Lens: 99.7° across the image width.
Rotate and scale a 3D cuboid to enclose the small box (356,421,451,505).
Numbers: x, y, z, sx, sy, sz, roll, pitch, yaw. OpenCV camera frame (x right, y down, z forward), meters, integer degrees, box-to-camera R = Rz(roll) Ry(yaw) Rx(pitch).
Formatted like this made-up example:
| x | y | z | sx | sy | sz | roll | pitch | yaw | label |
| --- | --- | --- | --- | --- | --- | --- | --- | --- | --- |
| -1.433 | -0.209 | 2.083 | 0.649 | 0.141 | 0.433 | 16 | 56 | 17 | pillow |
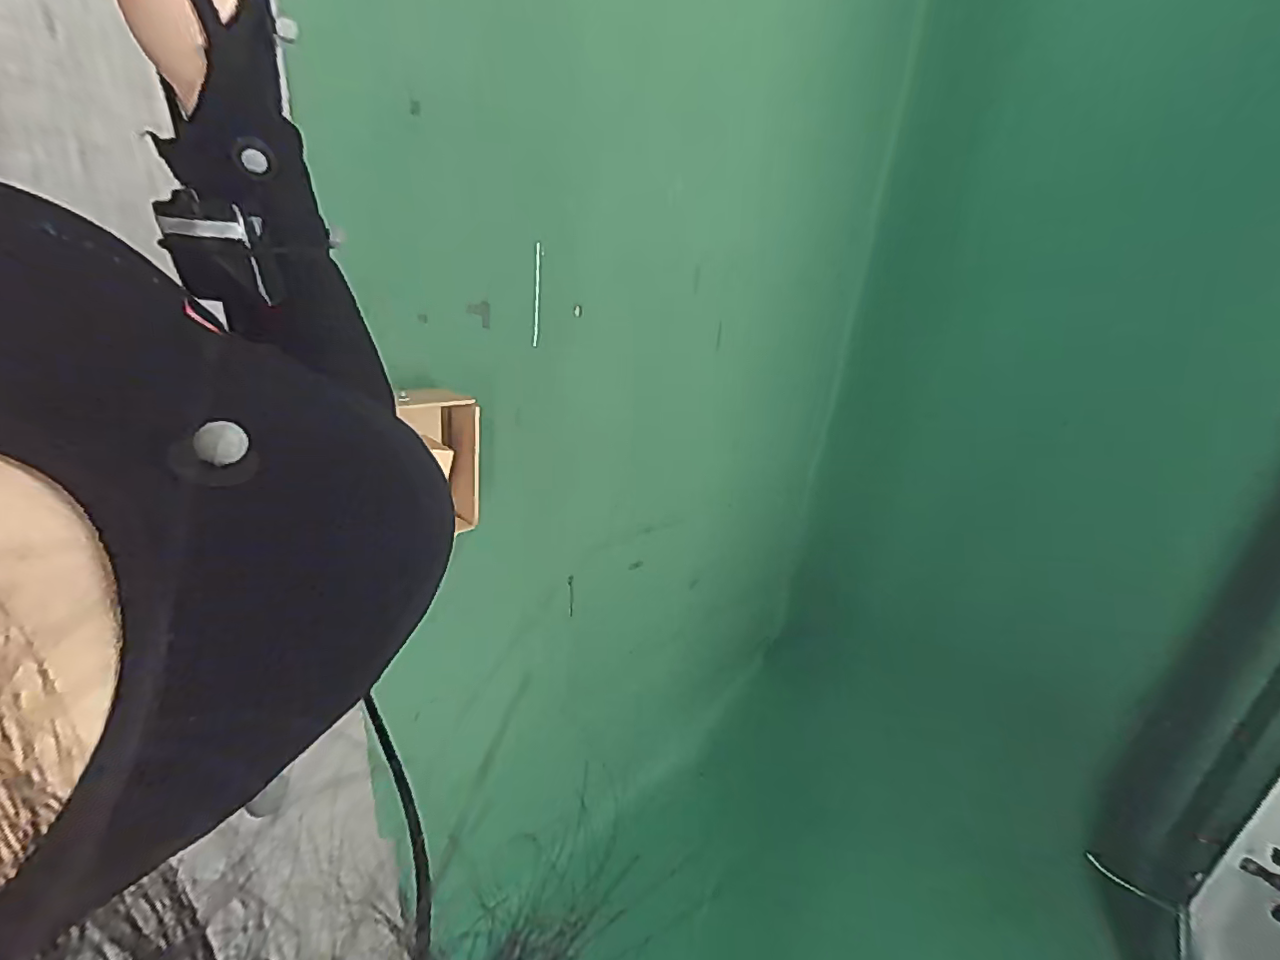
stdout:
| x | y | z | sx | sy | sz | roll | pitch | yaw | label |
| --- | --- | --- | --- | --- | --- | --- | --- | --- | --- |
| -0.643 | -0.045 | 1.458 | 0.168 | 0.176 | 0.179 | 5 | 106 | -50 | small box |
